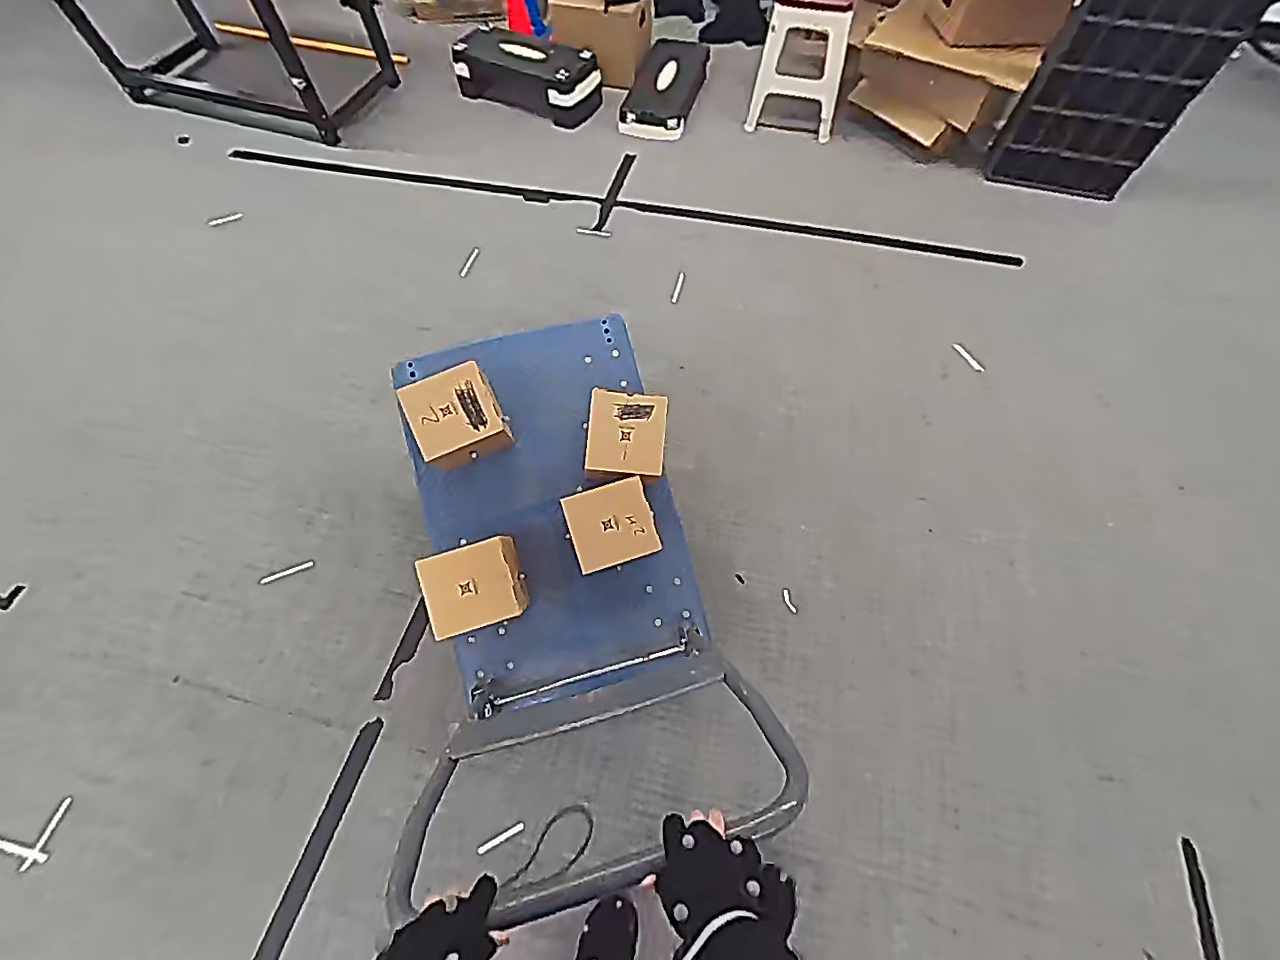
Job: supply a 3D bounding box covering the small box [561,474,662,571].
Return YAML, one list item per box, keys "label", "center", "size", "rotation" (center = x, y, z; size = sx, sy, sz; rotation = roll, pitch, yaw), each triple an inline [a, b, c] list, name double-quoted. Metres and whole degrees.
- label: "small box"
  center: [-0.063, 0.097, 1.202]
  size: [0.179, 0.176, 0.168]
  rotation: [-17, 85, -6]

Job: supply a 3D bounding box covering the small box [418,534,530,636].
- label: "small box"
  center: [-0.349, 0.222, 1.166]
  size: [0.179, 0.176, 0.168]
  rotation: [-17, 85, -8]

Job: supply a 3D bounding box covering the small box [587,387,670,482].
- label: "small box"
  center: [-0.031, -0.096, 1.227]
  size: [0.168, 0.176, 0.179]
  rotation: [5, 84, -3]
